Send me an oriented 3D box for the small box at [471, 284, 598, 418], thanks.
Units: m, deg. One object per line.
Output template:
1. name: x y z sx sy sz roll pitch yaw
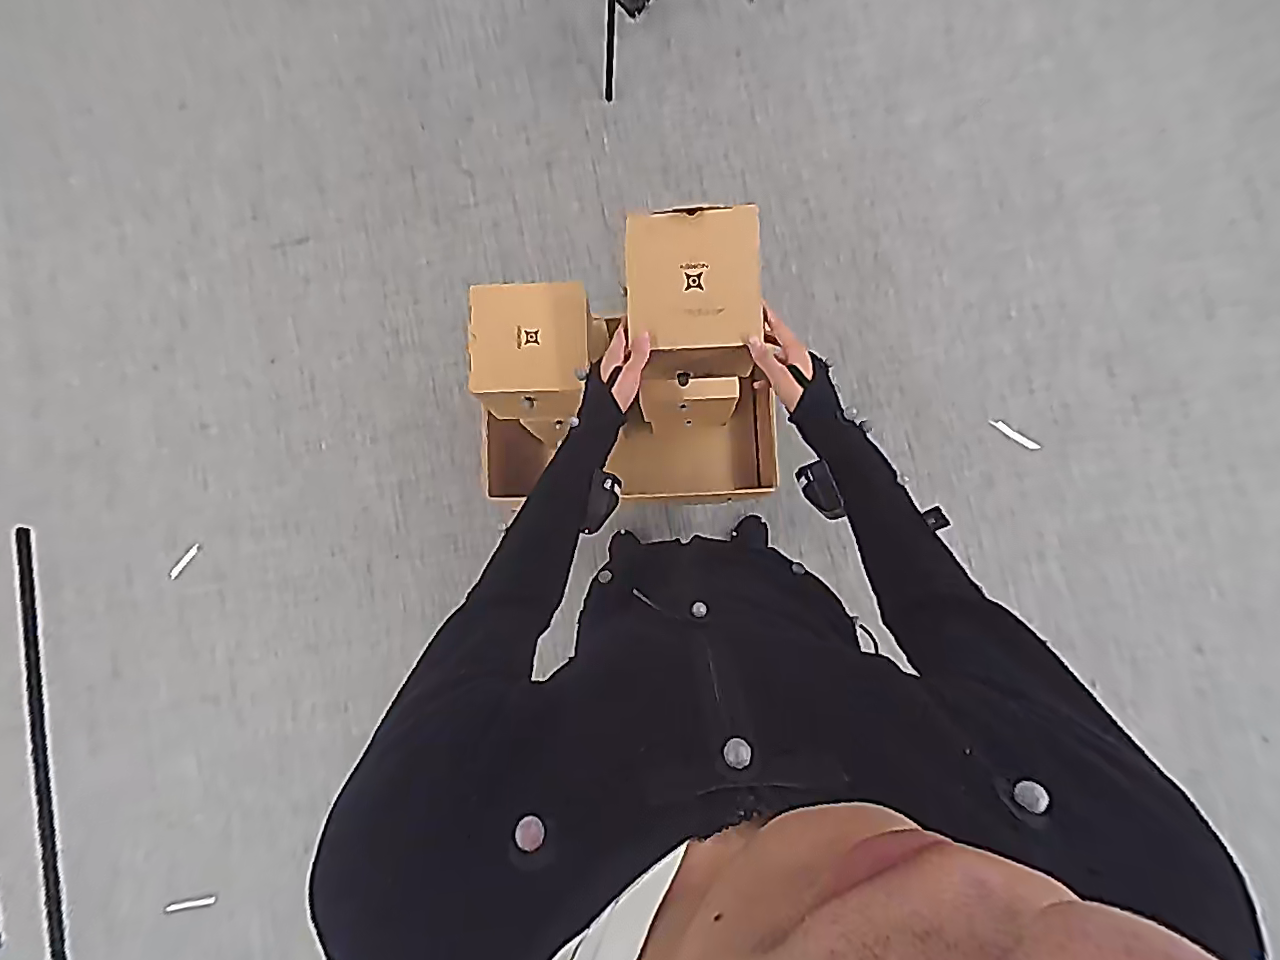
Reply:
1. small box: -0.159 -0.198 0.867 0.179 0.176 0.168 -2 84 1

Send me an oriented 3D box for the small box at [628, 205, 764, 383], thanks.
1. small box: 0.072 -0.240 0.733 0.168 0.176 0.179 -2 86 5
